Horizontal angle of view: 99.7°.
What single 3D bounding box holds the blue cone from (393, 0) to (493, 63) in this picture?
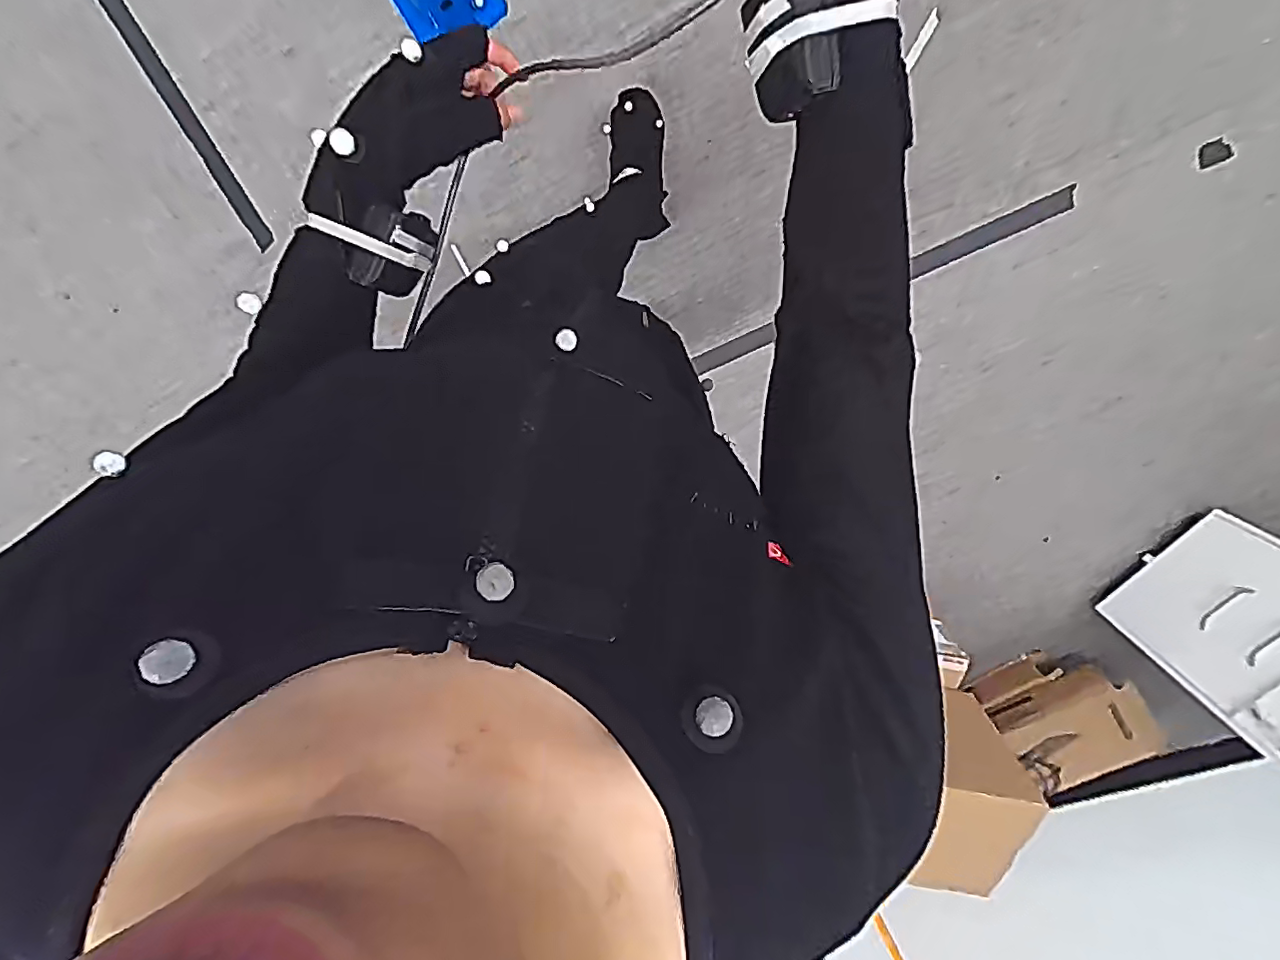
[{"bbox_3d":[-0.419,-0.922,0.946,0.192,0.380,0.193,-27,110,14],"label":"blue cone"}]
